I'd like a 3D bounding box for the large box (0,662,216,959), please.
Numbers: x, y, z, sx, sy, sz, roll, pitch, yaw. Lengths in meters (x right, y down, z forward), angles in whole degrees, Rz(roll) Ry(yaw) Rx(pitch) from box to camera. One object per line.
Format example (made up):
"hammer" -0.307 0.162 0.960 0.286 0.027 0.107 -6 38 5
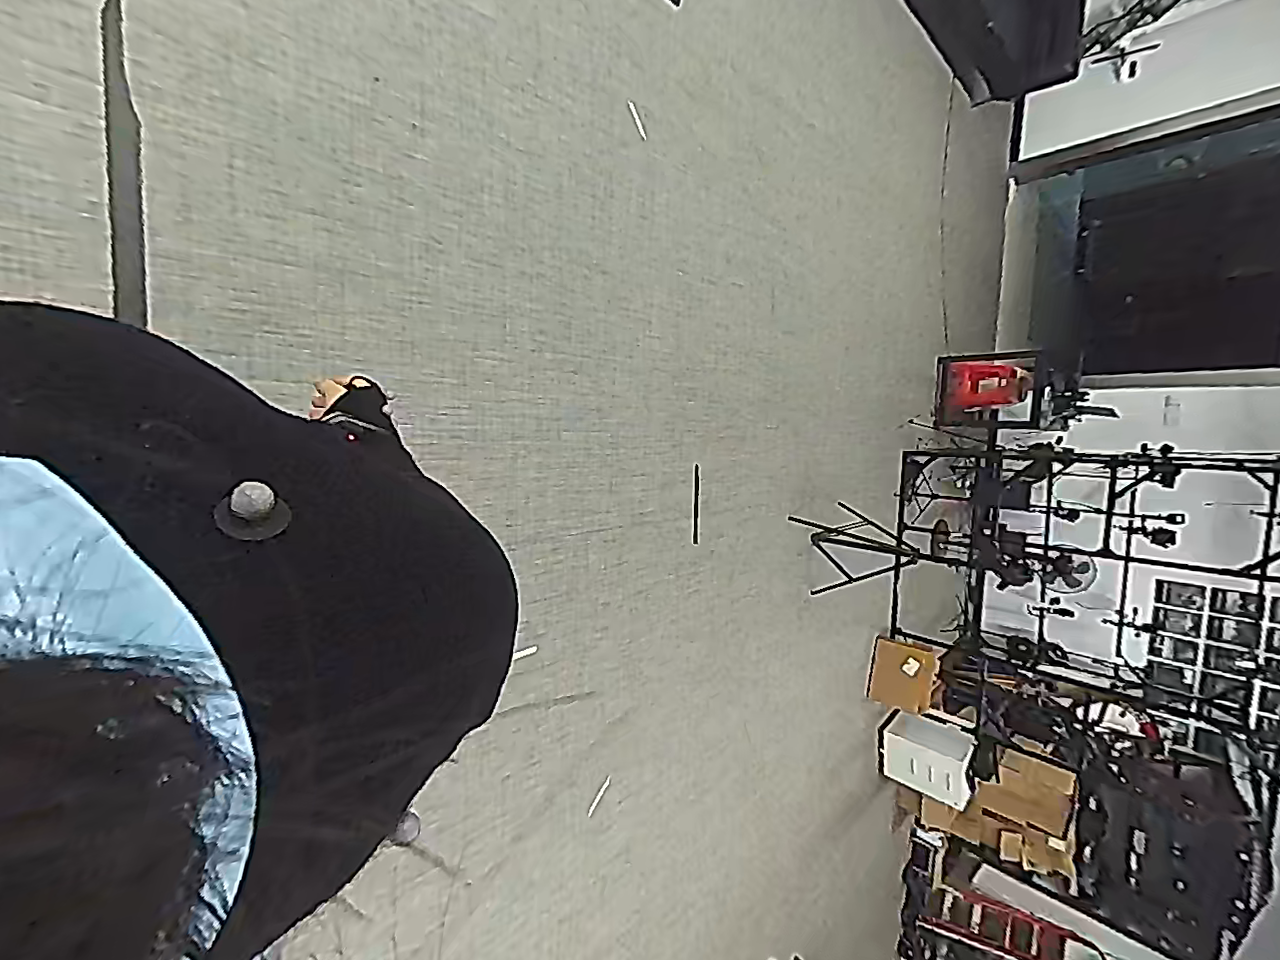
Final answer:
"large box" -0.943 0.532 0.847 0.408 0.320 0.320 -4 96 -44
